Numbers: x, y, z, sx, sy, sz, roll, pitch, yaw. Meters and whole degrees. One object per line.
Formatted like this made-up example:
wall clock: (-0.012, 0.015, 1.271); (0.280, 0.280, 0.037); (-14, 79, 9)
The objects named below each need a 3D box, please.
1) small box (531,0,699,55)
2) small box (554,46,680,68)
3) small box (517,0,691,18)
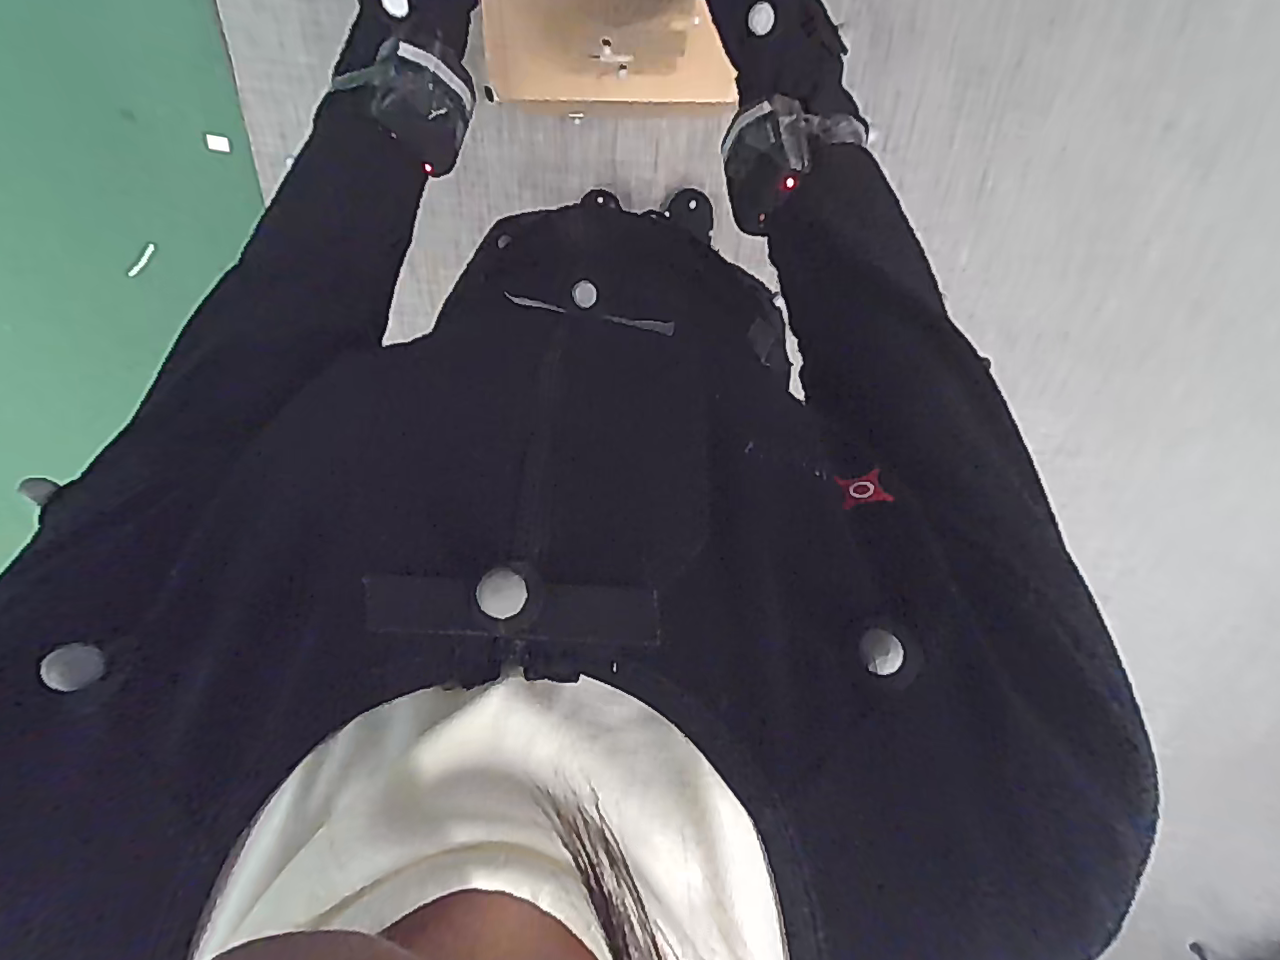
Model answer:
small box: (-0.026, -0.583, 0.591); (0.179, 0.176, 0.168); (0, 121, 3)
small box: (-0.026, -0.672, 0.729); (0.168, 0.176, 0.179); (1, 121, 3)
small box: (-0.036, -0.499, 0.426); (0.179, 0.176, 0.168); (0, 111, 1)
